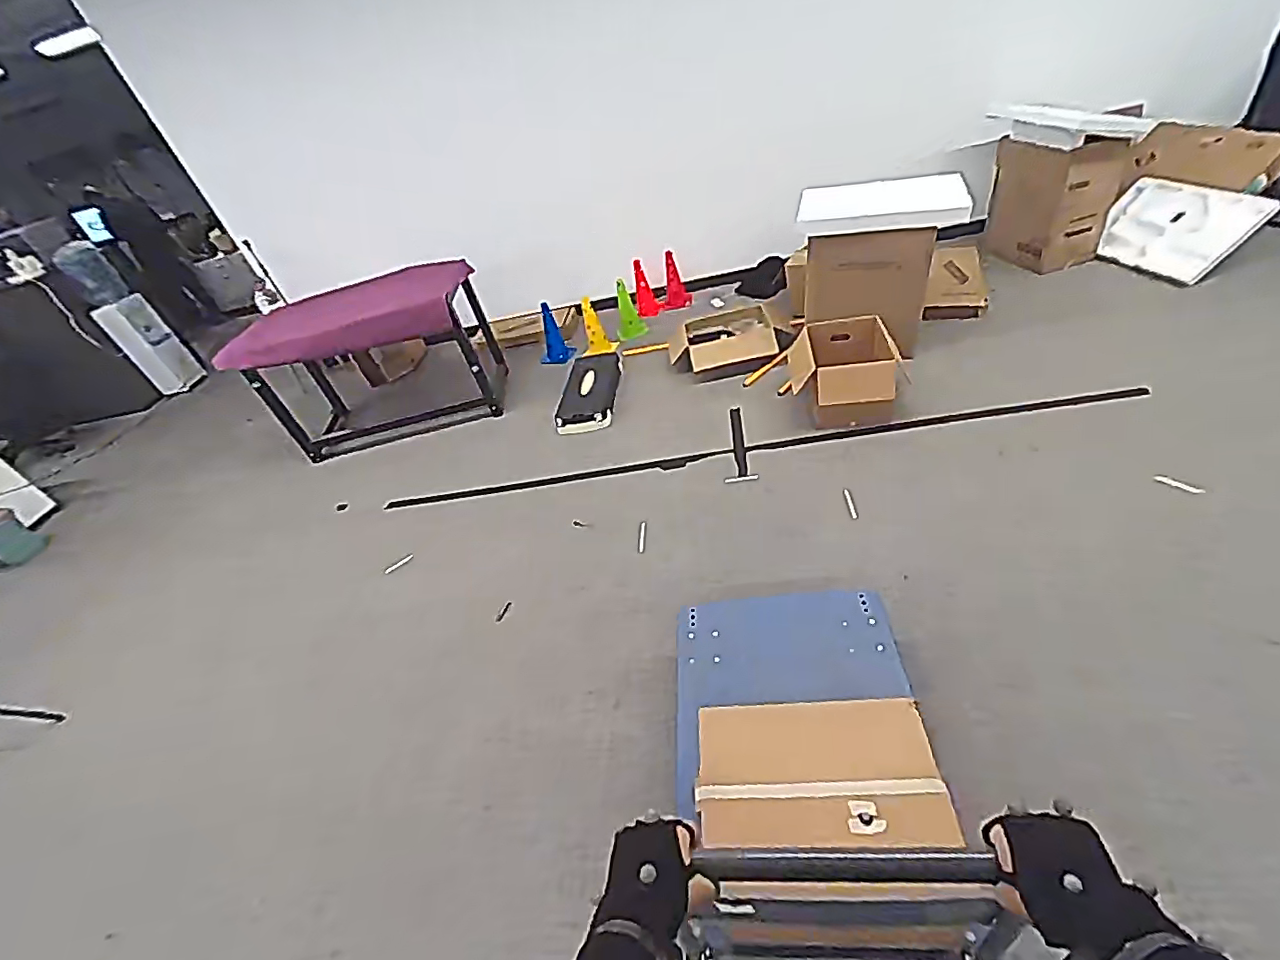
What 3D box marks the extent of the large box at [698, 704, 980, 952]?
[{"bbox_3d":[0.330,0.650,1.009,0.408,0.320,0.320,-7,40,10],"label":"large box"}]
